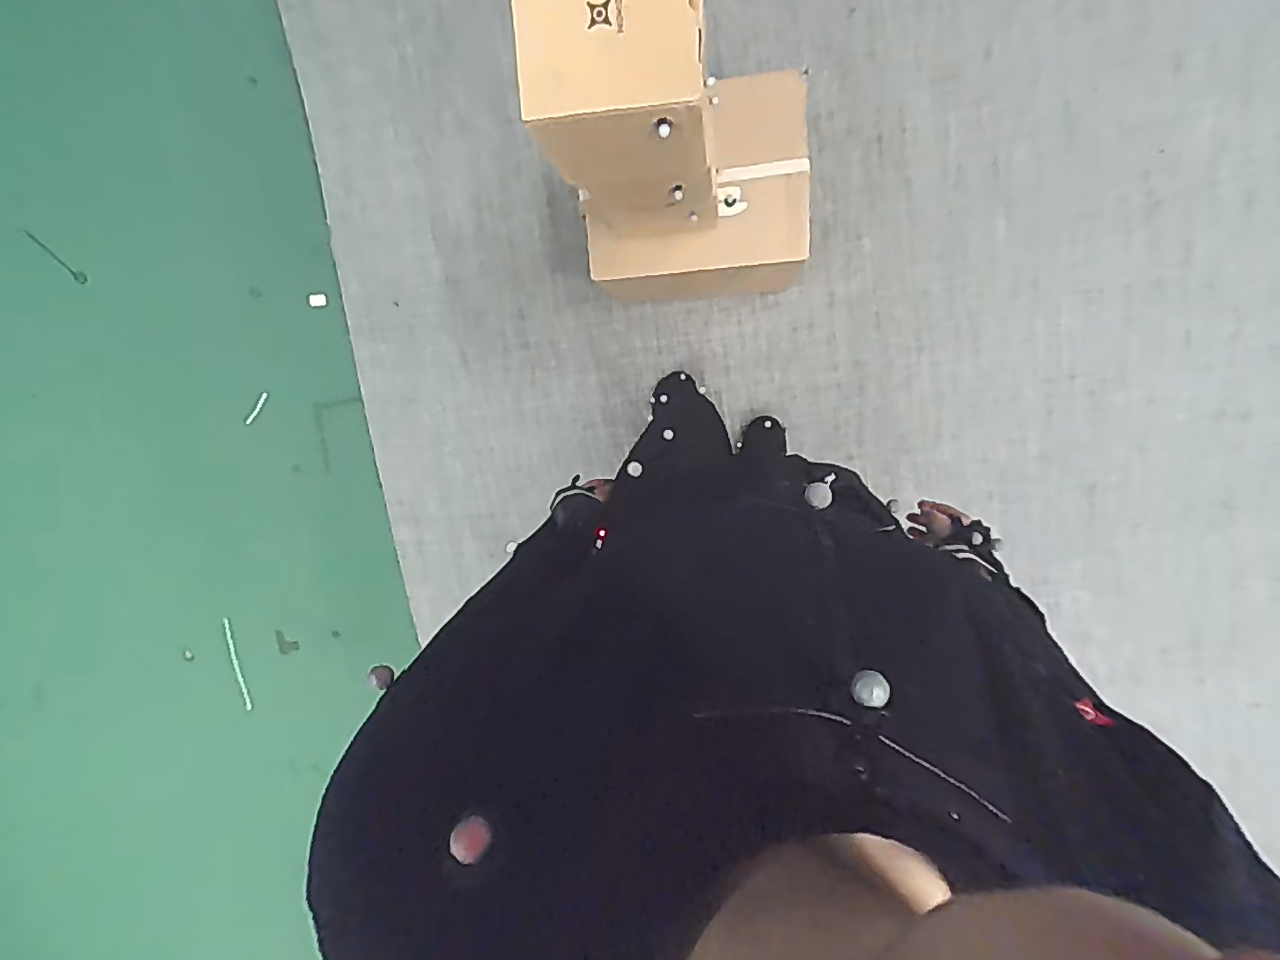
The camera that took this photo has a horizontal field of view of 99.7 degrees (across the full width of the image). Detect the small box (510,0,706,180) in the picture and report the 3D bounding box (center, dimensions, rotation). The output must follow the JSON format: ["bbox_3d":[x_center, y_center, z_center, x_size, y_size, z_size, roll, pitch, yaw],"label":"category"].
[{"bbox_3d":[-0.023,-0.438,0.569,0.179,0.176,0.168,-2,99,8],"label":"small box"}]

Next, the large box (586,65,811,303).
[{"bbox_3d":[0.116,-0.563,1.111,0.408,0.320,0.320,-3,100,9],"label":"large box"}]

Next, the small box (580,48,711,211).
[{"bbox_3d":[0.008,-0.478,0.725,0.168,0.176,0.179,-3,99,8],"label":"small box"}]
